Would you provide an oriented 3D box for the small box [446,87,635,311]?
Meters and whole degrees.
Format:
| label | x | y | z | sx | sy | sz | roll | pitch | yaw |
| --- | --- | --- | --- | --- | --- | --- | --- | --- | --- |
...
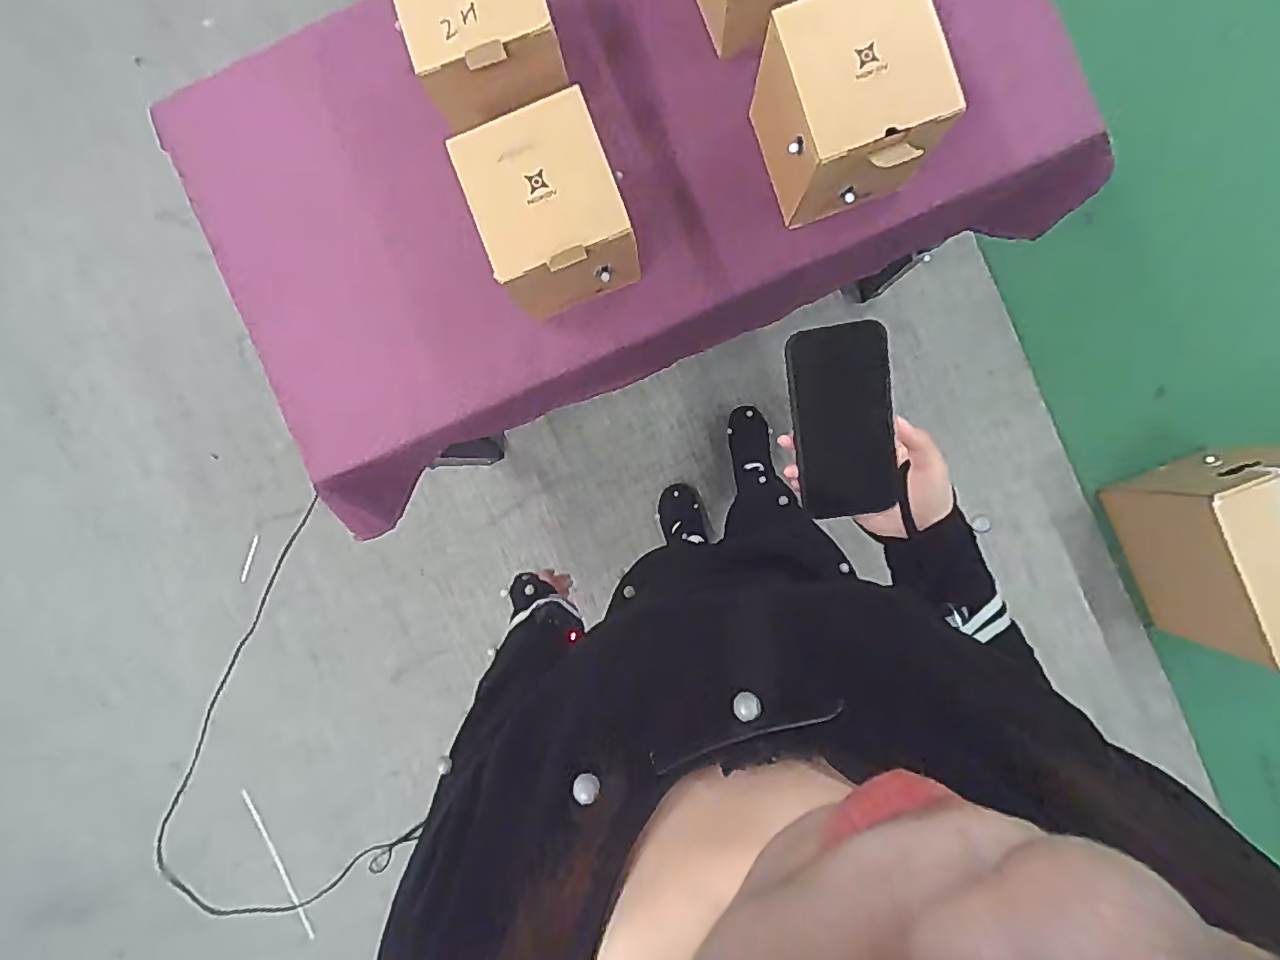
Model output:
| label | x | y | z | sx | sy | sz | roll | pitch | yaw |
| --- | --- | --- | --- | --- | --- | --- | --- | --- | --- |
| small box | -0.111 | -0.333 | 0.687 | 0.168 | 0.176 | 0.179 | -21 | 90 | 3 |

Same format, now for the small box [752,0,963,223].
| label | x | y | z | sx | sy | sz | roll | pitch | yaw |
| --- | --- | --- | --- | --- | --- | --- | --- | --- | --- |
| small box | 0.247 | -0.455 | 0.662 | 0.168 | 0.176 | 0.179 | -19 | 91 | 4 |

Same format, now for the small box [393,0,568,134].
| label | x | y | z | sx | sy | sz | roll | pitch | yaw |
| --- | --- | --- | --- | --- | --- | --- | --- | --- | --- |
| small box | -0.196 | -0.565 | 0.683 | 0.168 | 0.176 | 0.179 | -17 | 91 | 4 |
